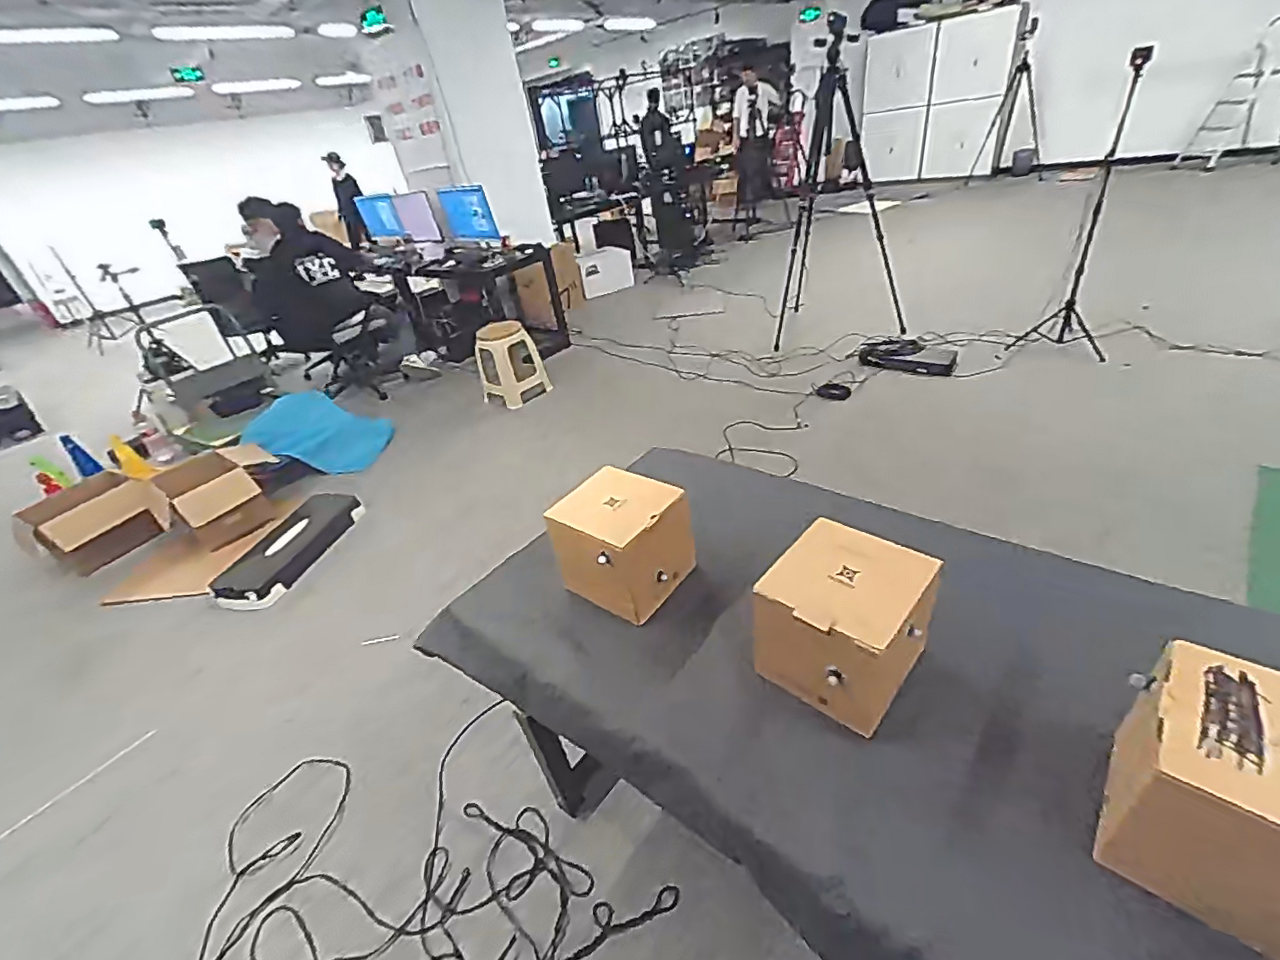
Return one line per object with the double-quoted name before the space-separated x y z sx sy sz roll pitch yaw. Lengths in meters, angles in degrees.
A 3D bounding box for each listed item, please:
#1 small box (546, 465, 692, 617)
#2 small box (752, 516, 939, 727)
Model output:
"small box" -0.029 0.101 0.917 0.179 0.176 0.168 18 42 35
"small box" 0.267 0.183 0.715 0.168 0.176 0.179 23 45 38
